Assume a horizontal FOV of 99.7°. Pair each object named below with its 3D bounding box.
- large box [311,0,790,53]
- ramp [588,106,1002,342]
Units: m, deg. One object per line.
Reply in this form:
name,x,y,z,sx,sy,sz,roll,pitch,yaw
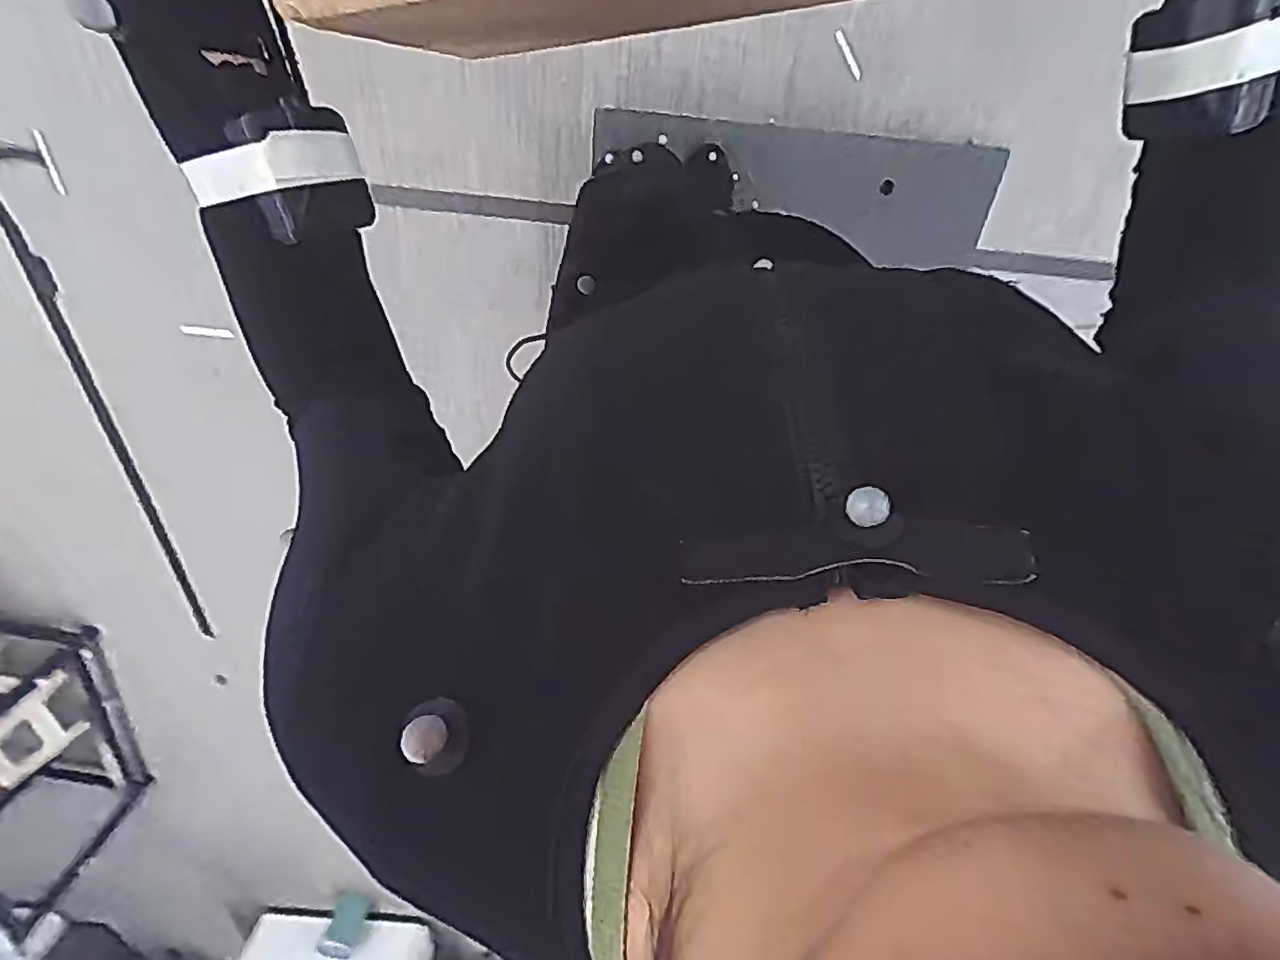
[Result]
large box,0.021,-0.454,0.285,0.408,0.320,0.320,-5,124,5
ramp,0.372,-0.599,1.351,0.991,0.206,0.509,3,120,0
